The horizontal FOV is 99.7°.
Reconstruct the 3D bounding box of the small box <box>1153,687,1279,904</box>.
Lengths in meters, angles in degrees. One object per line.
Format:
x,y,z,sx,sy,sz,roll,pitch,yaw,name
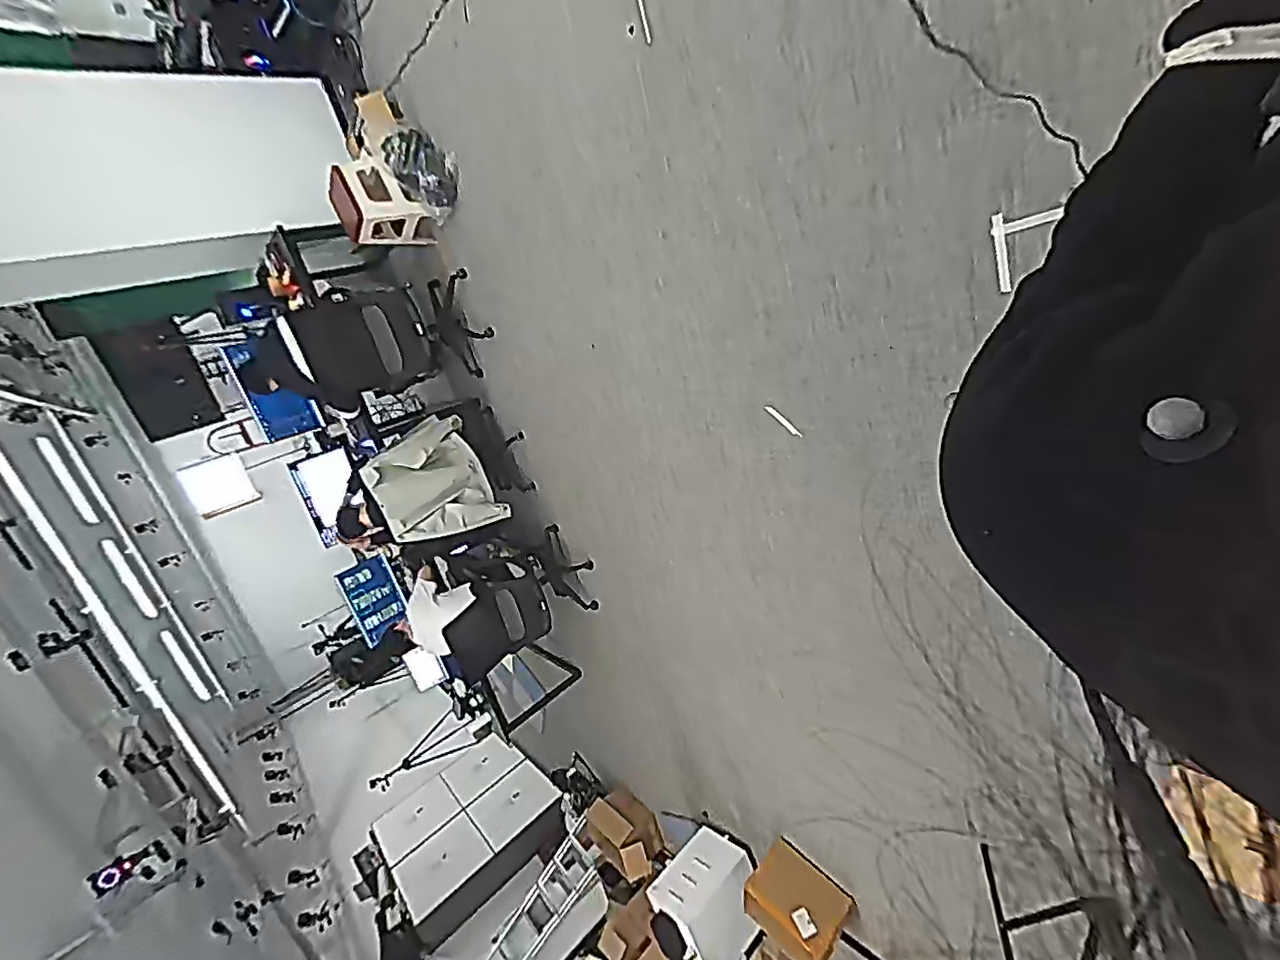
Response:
0.783,0.391,0.674,0.179,0.176,0.168,10,121,49,small box
